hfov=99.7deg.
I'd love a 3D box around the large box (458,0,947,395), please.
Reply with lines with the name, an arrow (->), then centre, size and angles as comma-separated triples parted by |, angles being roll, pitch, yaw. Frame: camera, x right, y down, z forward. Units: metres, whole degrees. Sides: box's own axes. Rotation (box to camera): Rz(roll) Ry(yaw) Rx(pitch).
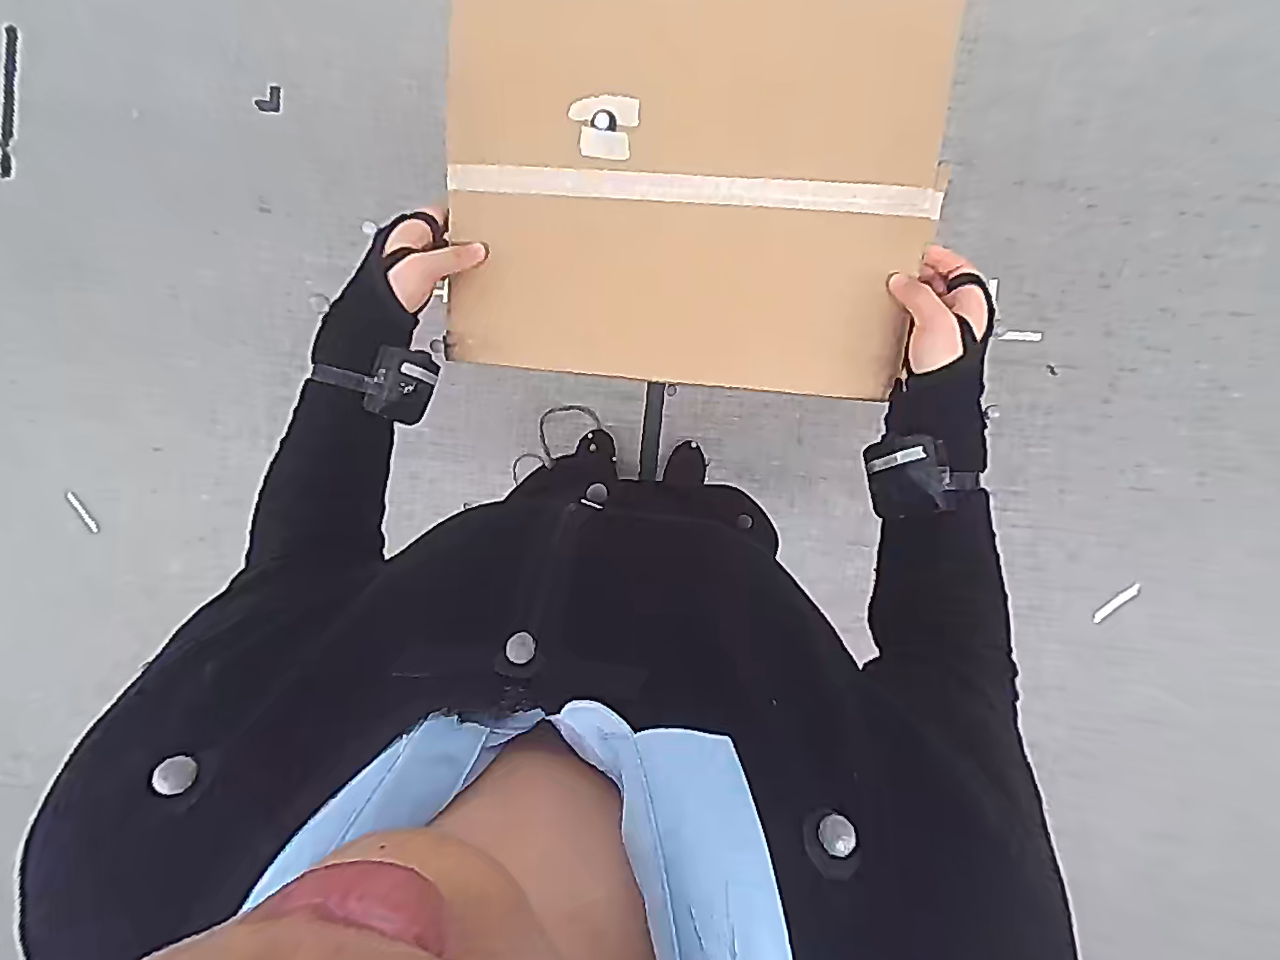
large box -> 0.054, -0.269, 0.612 | 0.408, 0.320, 0.320 | 6, 100, 7
